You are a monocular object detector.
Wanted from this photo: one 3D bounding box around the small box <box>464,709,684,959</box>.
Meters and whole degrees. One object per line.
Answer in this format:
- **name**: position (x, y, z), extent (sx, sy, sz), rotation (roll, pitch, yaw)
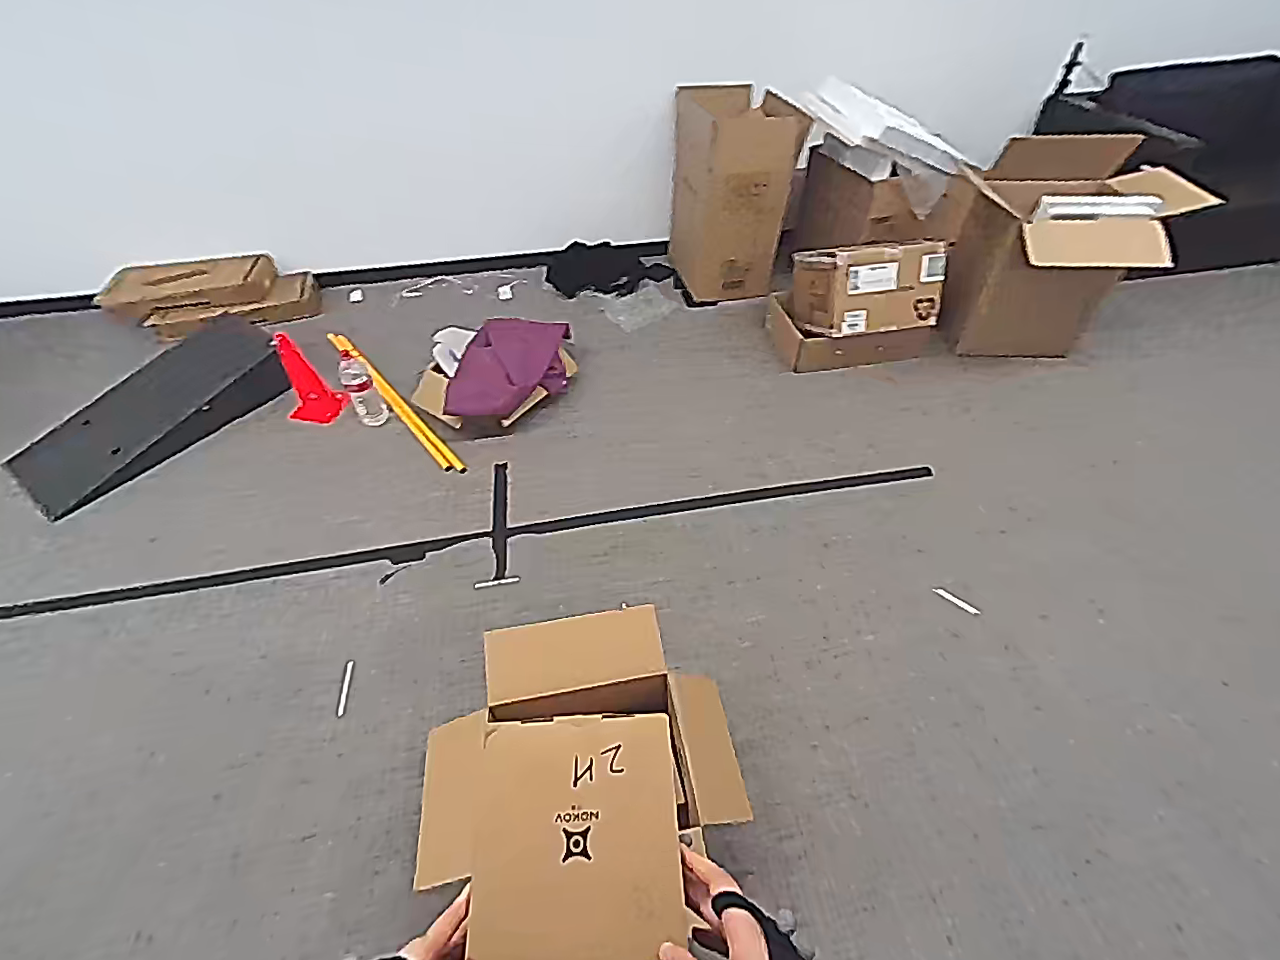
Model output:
- **small box**: position (-0.053, 0.330, 0.505), extent (0.168, 0.176, 0.179), rotation (-3, 54, -4)
